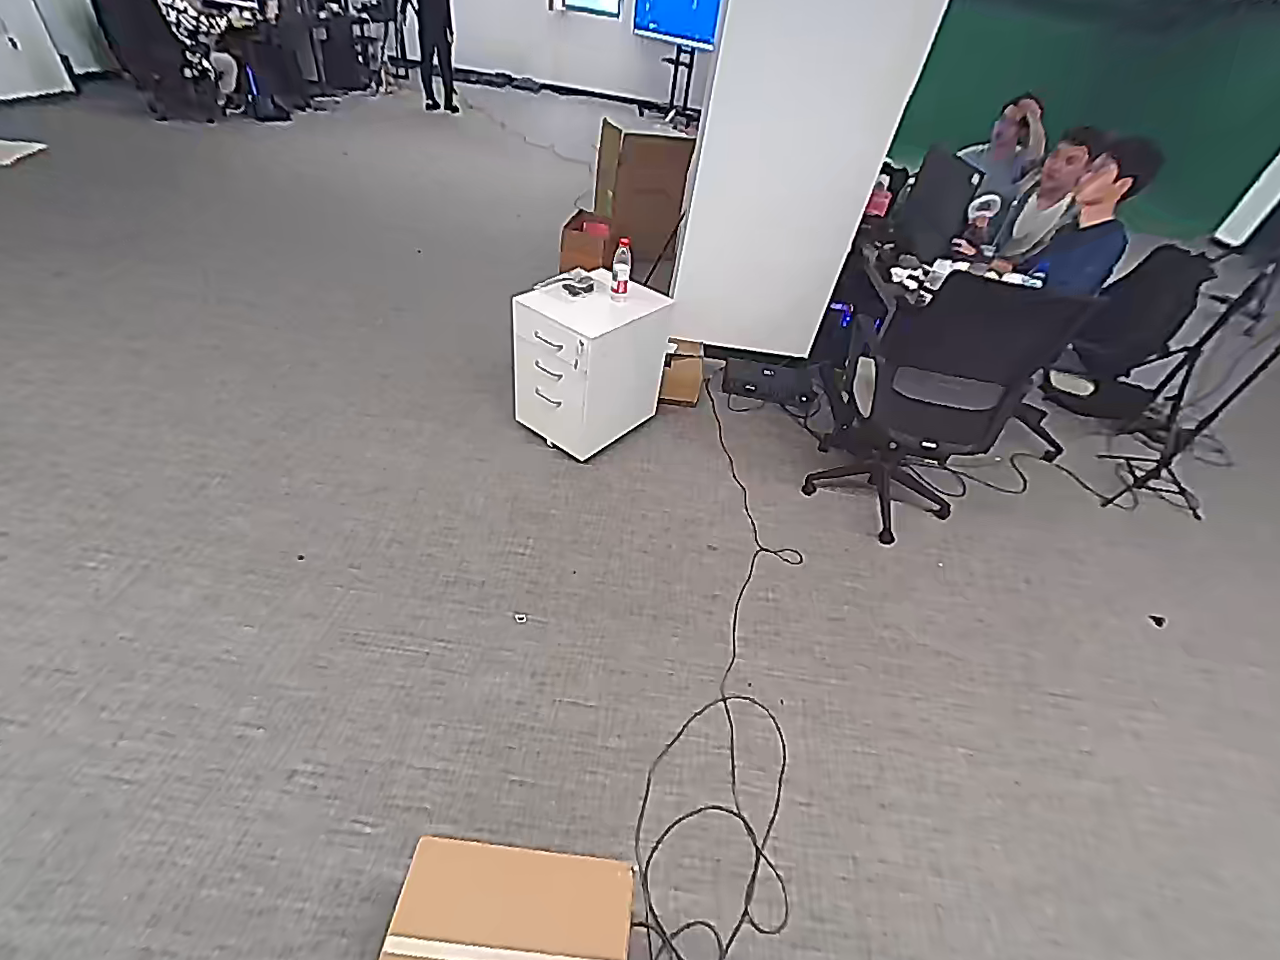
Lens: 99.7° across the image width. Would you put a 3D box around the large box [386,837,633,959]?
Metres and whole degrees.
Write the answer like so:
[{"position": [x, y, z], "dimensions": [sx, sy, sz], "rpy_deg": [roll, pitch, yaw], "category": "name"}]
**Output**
[{"position": [-0.238, 0.906, 0.999], "dimensions": [0.408, 0.320, 0.320], "rpy_deg": [8, 41, -1], "category": "large box"}]
